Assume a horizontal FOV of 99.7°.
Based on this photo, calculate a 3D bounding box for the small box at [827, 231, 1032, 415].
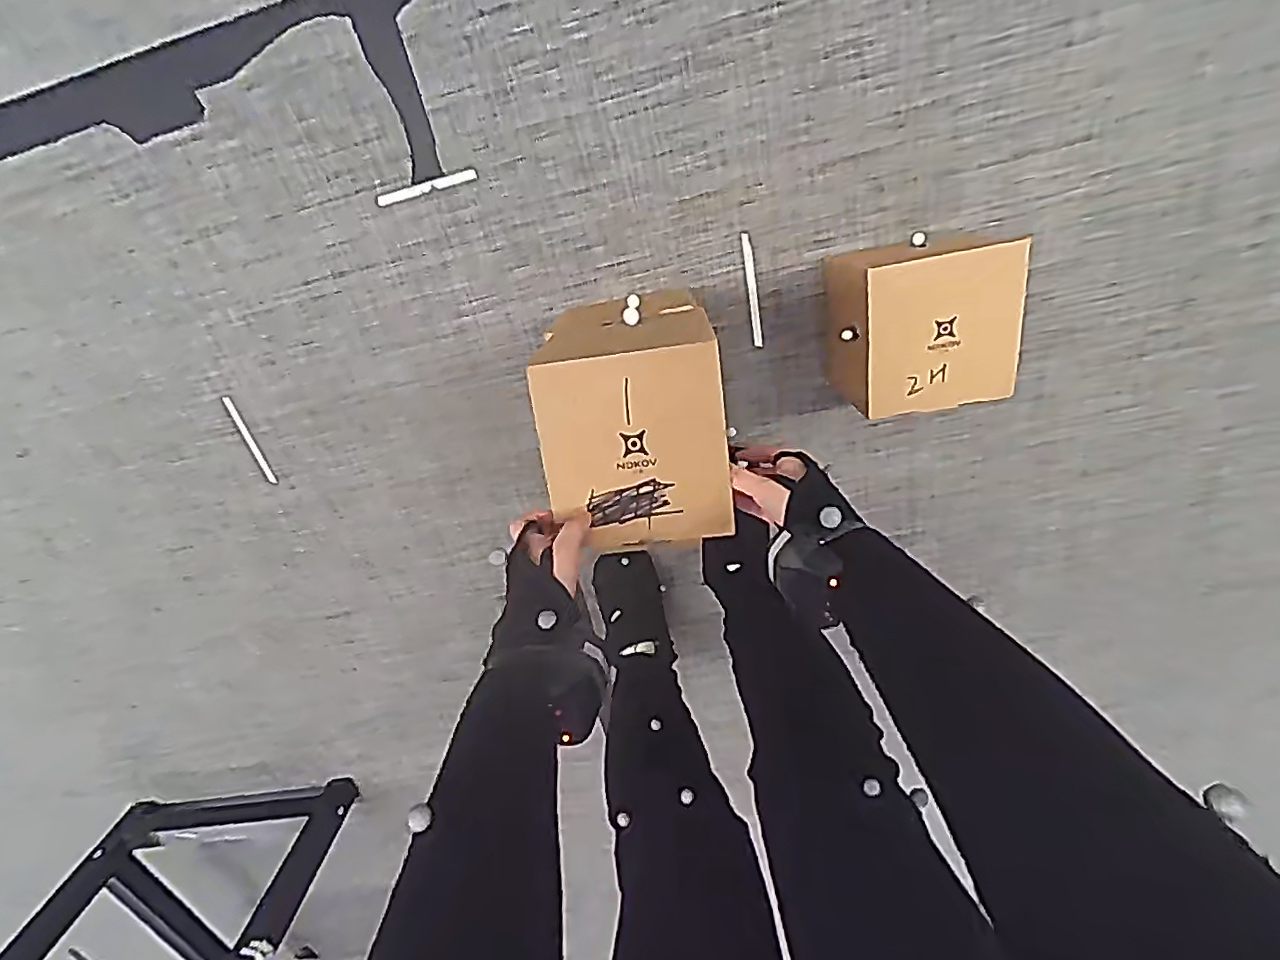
[{"bbox_3d":[0.335,-0.198,0.663,0.168,0.176,0.179,-8,116,6],"label":"small box"}]

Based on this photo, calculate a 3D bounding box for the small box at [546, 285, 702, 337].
[{"bbox_3d":[-0.008,-0.146,0.698,0.179,0.176,0.168,-9,116,5],"label":"small box"}]

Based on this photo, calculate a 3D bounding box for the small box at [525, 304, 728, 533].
[{"bbox_3d":[-0.003,-0.069,0.552,0.168,0.176,0.179,-6,116,4],"label":"small box"}]
